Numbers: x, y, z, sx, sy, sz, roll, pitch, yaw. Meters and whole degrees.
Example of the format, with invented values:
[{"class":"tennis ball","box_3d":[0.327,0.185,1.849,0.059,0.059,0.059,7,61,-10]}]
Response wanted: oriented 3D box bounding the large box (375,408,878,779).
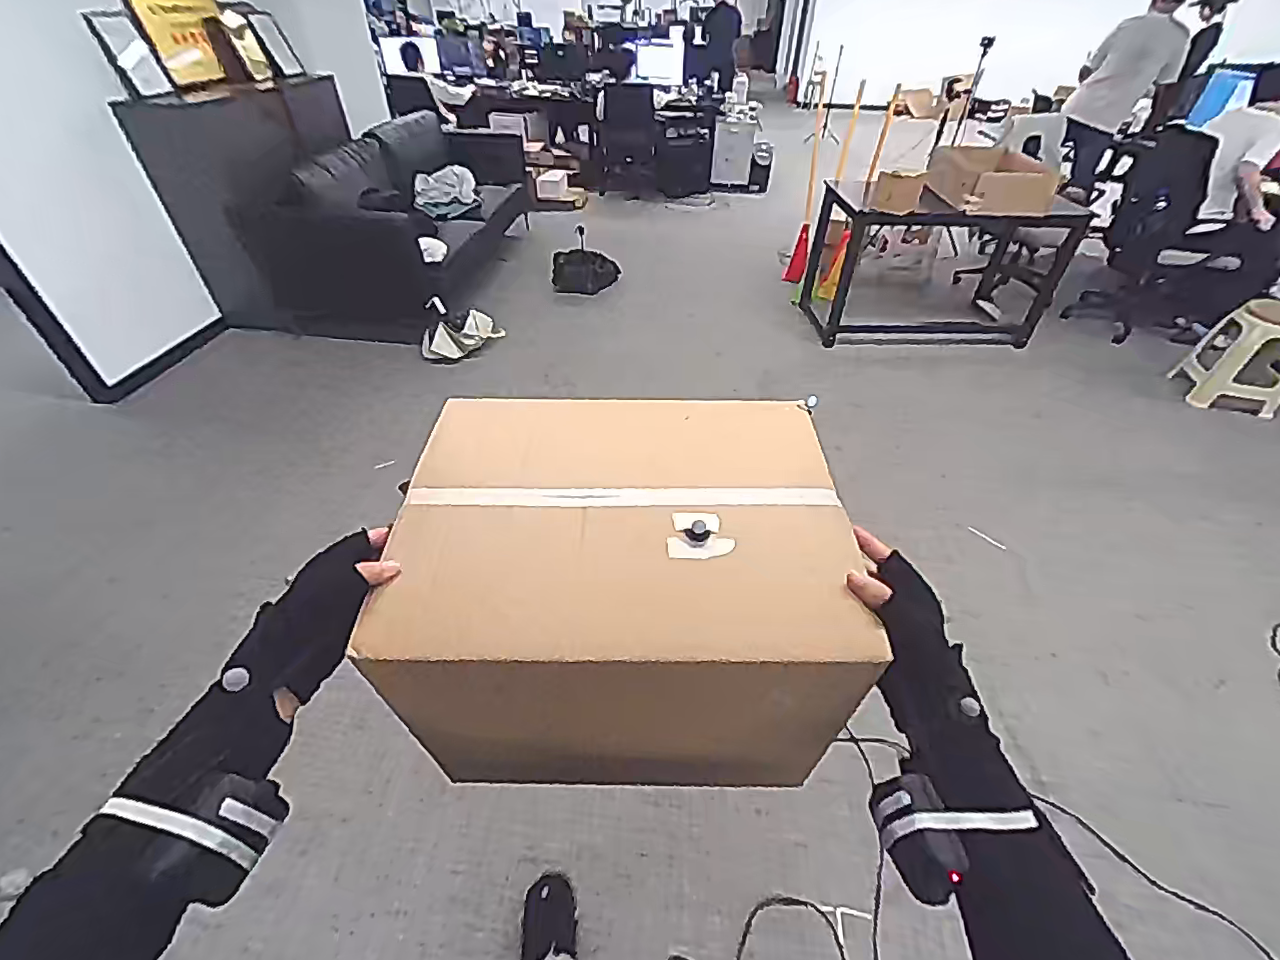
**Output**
[{"class":"large box","box_3d":[-0.015,0.131,0.628,0.408,0.320,0.320,1,46,-1]}]
